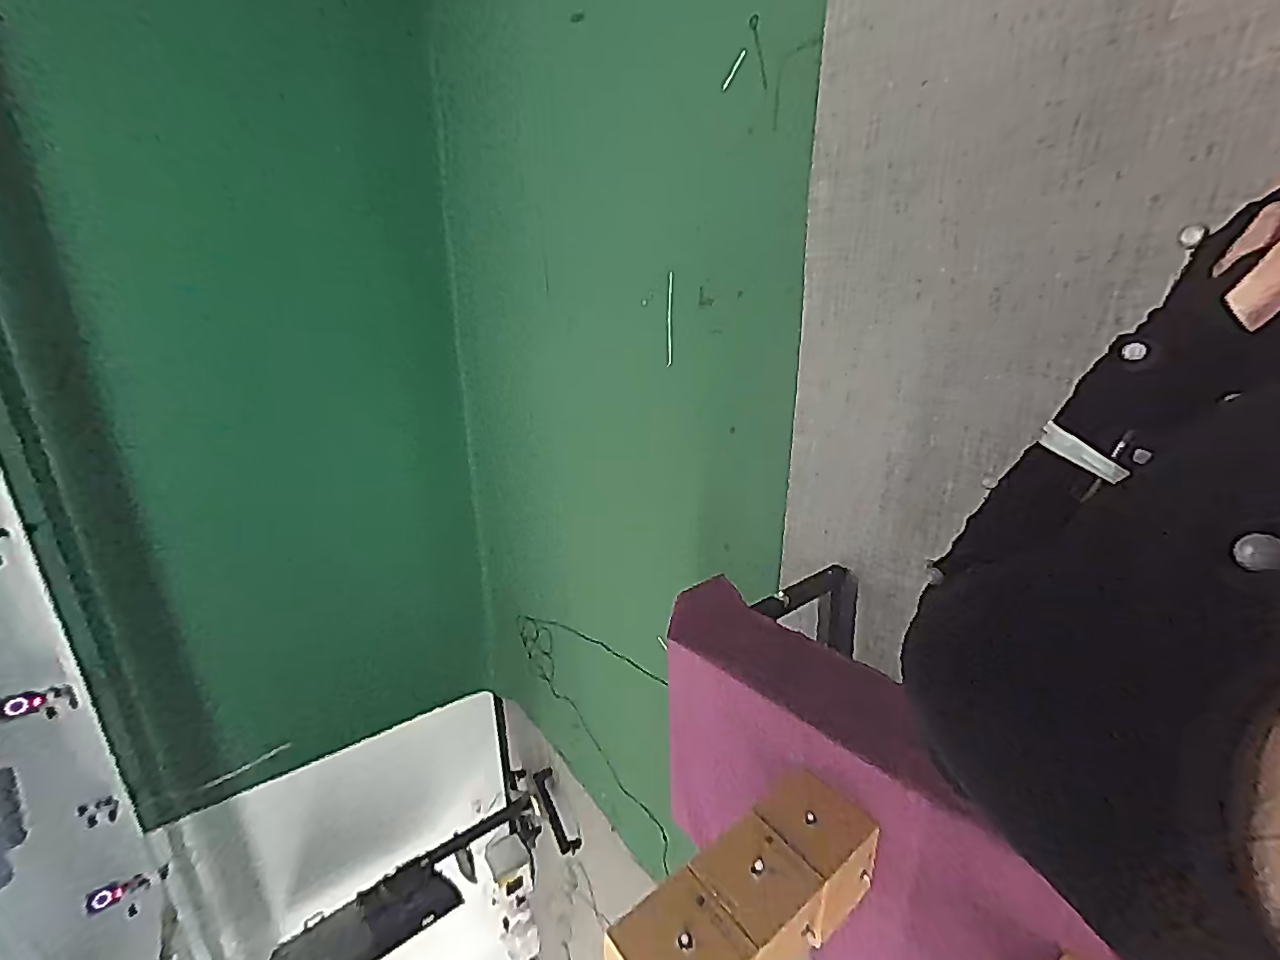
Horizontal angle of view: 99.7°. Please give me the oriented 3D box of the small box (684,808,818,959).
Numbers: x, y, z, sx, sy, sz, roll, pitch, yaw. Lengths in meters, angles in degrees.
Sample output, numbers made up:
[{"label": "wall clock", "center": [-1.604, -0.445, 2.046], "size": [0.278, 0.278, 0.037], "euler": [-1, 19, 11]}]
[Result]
[{"label": "small box", "center": [0.187, 0.724, 0.941], "size": [0.168, 0.176, 0.179], "euler": [25, 121, 47]}]

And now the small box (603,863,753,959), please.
[{"label": "small box", "center": [0.058, 0.757, 0.842], "size": [0.168, 0.176, 0.179], "euler": [23, 120, 47]}]
